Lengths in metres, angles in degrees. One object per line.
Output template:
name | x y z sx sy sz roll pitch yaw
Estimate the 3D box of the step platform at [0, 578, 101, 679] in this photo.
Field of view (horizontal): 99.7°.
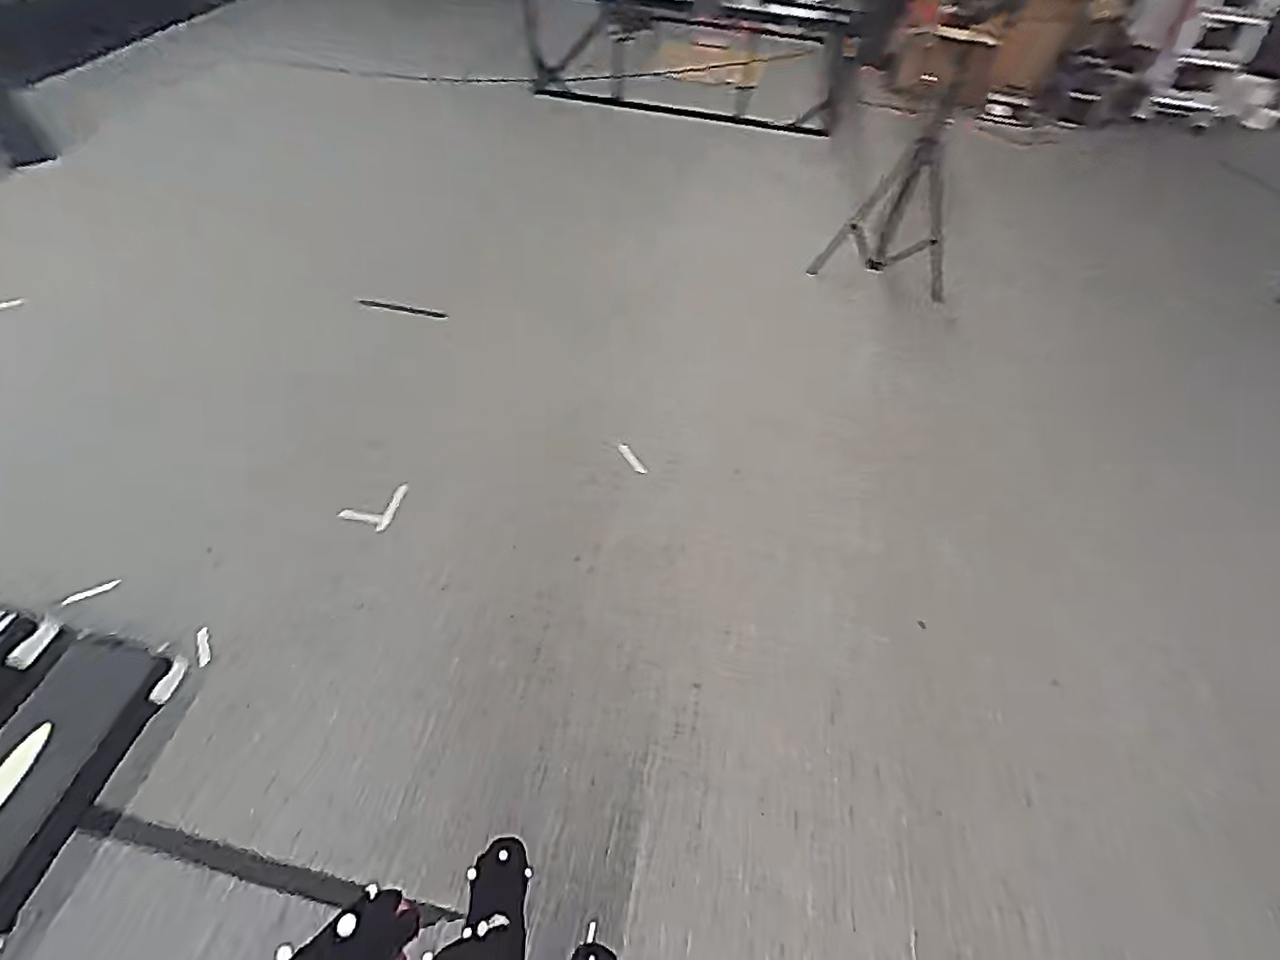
step platform | -1.627 0.549 1.194 0.286 0.204 0.684 11 53 4
